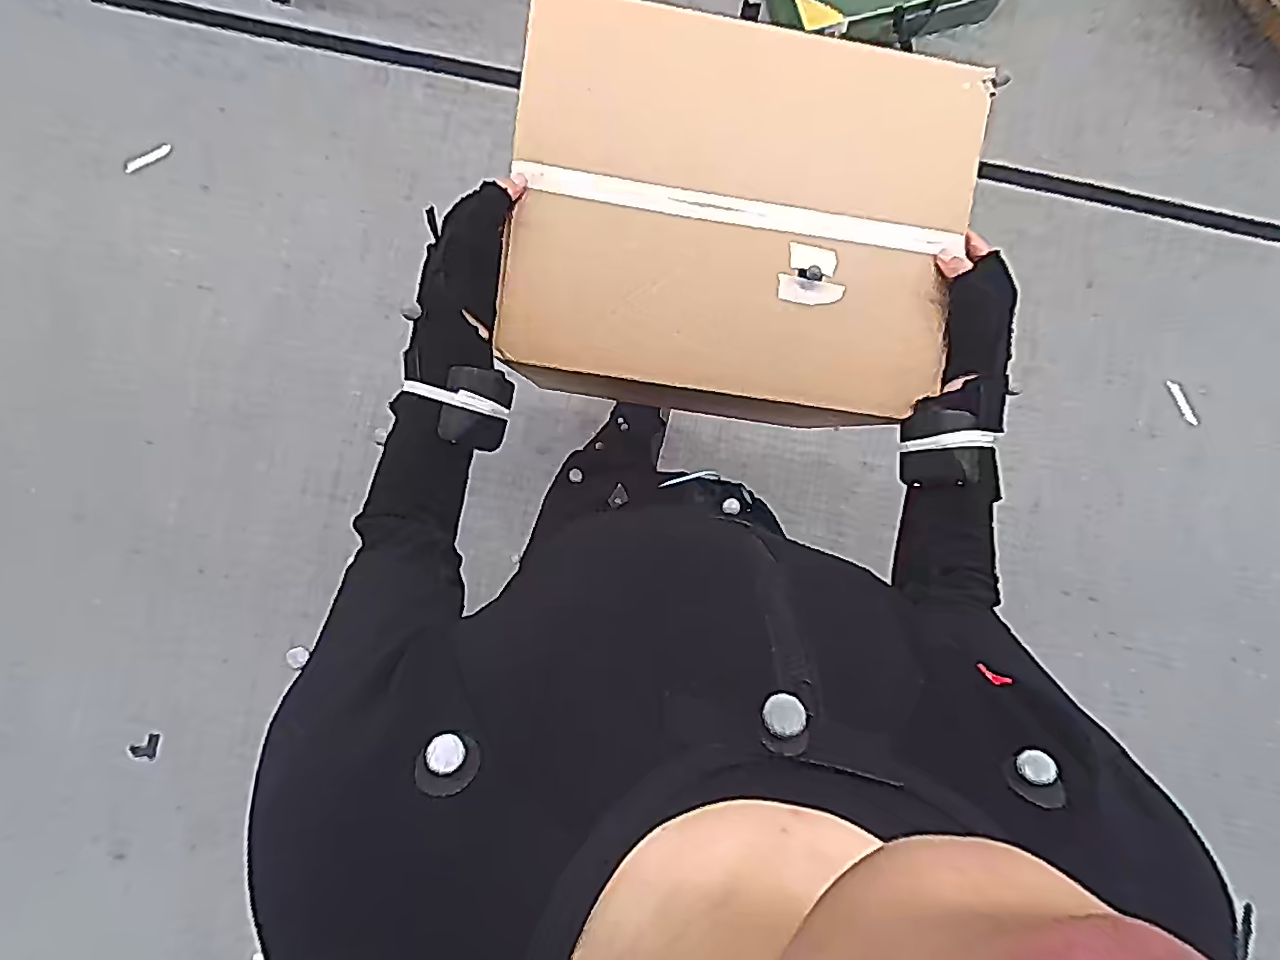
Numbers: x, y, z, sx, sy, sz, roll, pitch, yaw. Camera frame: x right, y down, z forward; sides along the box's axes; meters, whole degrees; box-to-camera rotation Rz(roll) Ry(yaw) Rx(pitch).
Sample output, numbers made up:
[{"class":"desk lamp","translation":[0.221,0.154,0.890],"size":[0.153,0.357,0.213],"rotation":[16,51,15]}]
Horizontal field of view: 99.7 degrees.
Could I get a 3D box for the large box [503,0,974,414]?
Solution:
[{"class":"large box","translation":[0.079,-0.260,0.636],"size":[0.408,0.320,0.320],"rotation":[8,96,-5]}]
